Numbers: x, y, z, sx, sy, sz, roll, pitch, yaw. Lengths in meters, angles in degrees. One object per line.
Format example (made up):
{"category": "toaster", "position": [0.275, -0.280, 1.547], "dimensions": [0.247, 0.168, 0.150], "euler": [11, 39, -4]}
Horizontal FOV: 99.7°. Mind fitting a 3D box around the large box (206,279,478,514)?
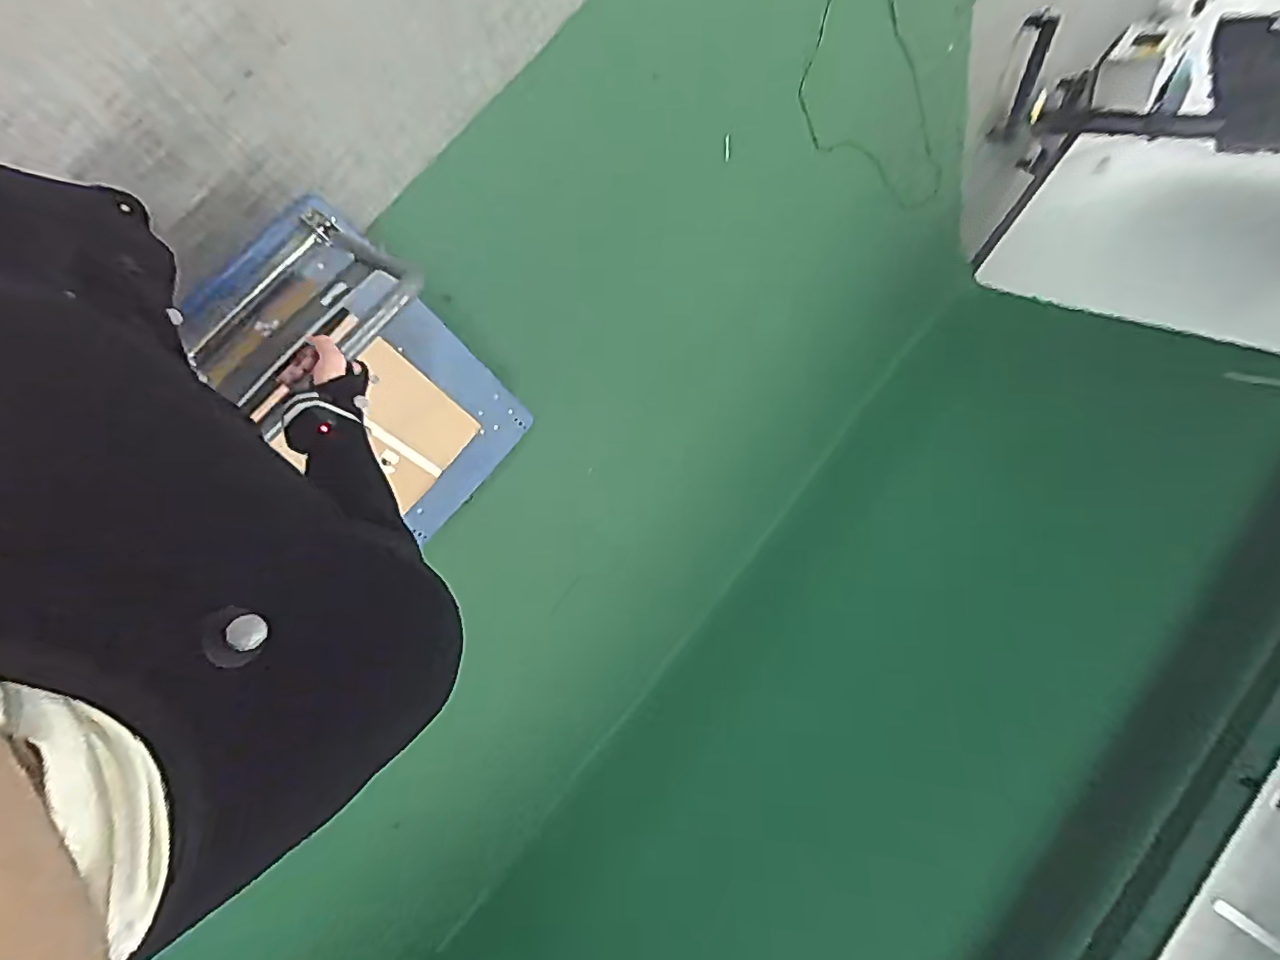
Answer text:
{"category": "large box", "position": [-0.677, -0.187, 1.261], "dimensions": [0.320, 0.320, 0.408], "euler": [-49, 143, -7]}
